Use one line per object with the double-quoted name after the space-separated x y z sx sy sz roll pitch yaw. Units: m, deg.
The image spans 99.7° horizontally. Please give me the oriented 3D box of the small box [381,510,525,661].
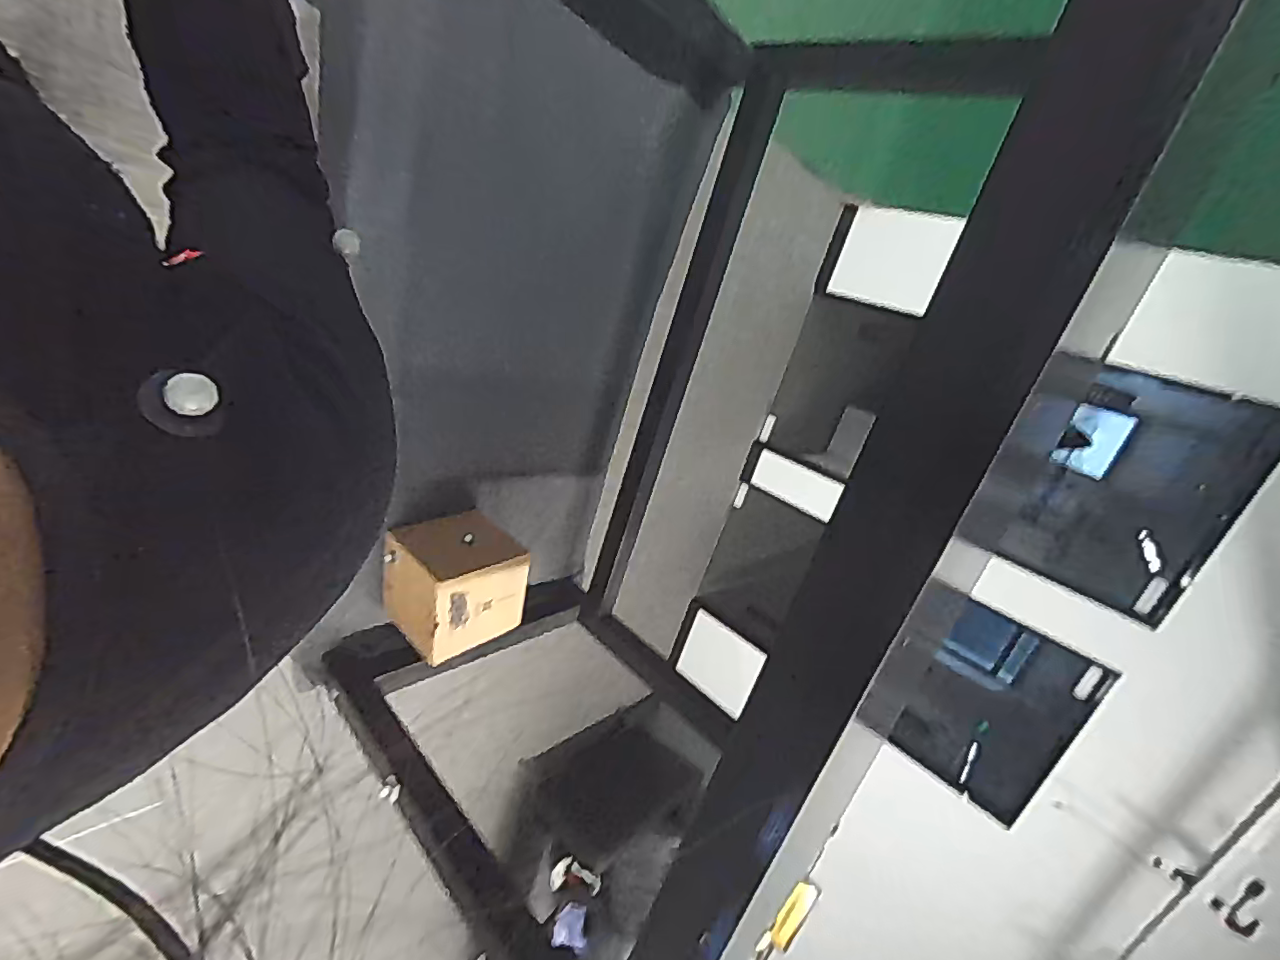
-0.330 0.172 0.942 0.179 0.176 0.168 -15 126 -48 "small box"
